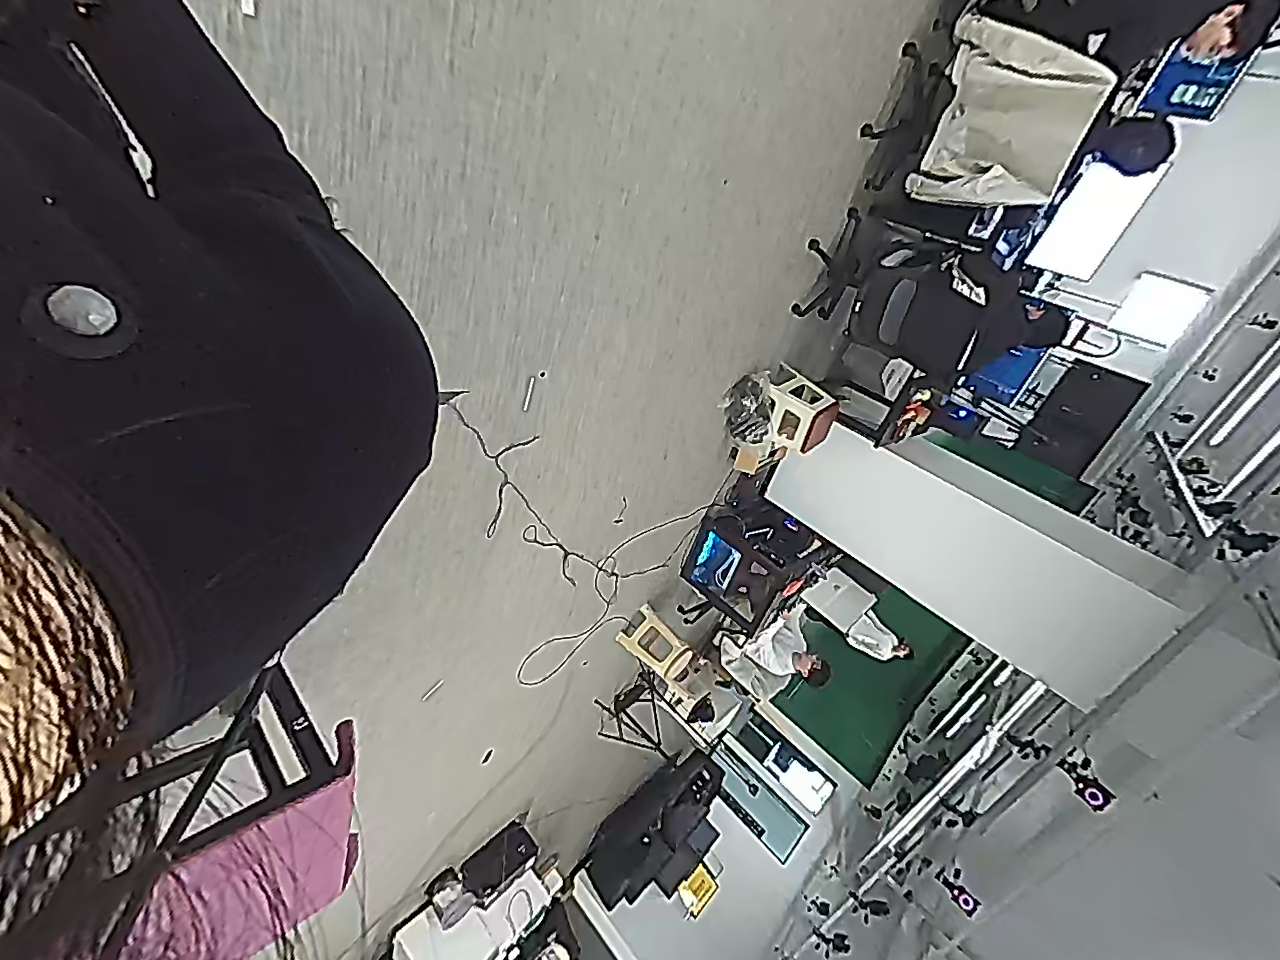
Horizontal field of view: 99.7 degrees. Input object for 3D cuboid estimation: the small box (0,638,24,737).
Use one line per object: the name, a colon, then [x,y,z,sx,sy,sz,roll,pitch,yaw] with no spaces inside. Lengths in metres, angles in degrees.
small box: [-1.524,0.482,1.208,0.168,0.176,0.179,-15,133,-48]

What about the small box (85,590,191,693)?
small box: [-1.321,0.416,1.427,0.179,0.176,0.168,-11,129,-49]
